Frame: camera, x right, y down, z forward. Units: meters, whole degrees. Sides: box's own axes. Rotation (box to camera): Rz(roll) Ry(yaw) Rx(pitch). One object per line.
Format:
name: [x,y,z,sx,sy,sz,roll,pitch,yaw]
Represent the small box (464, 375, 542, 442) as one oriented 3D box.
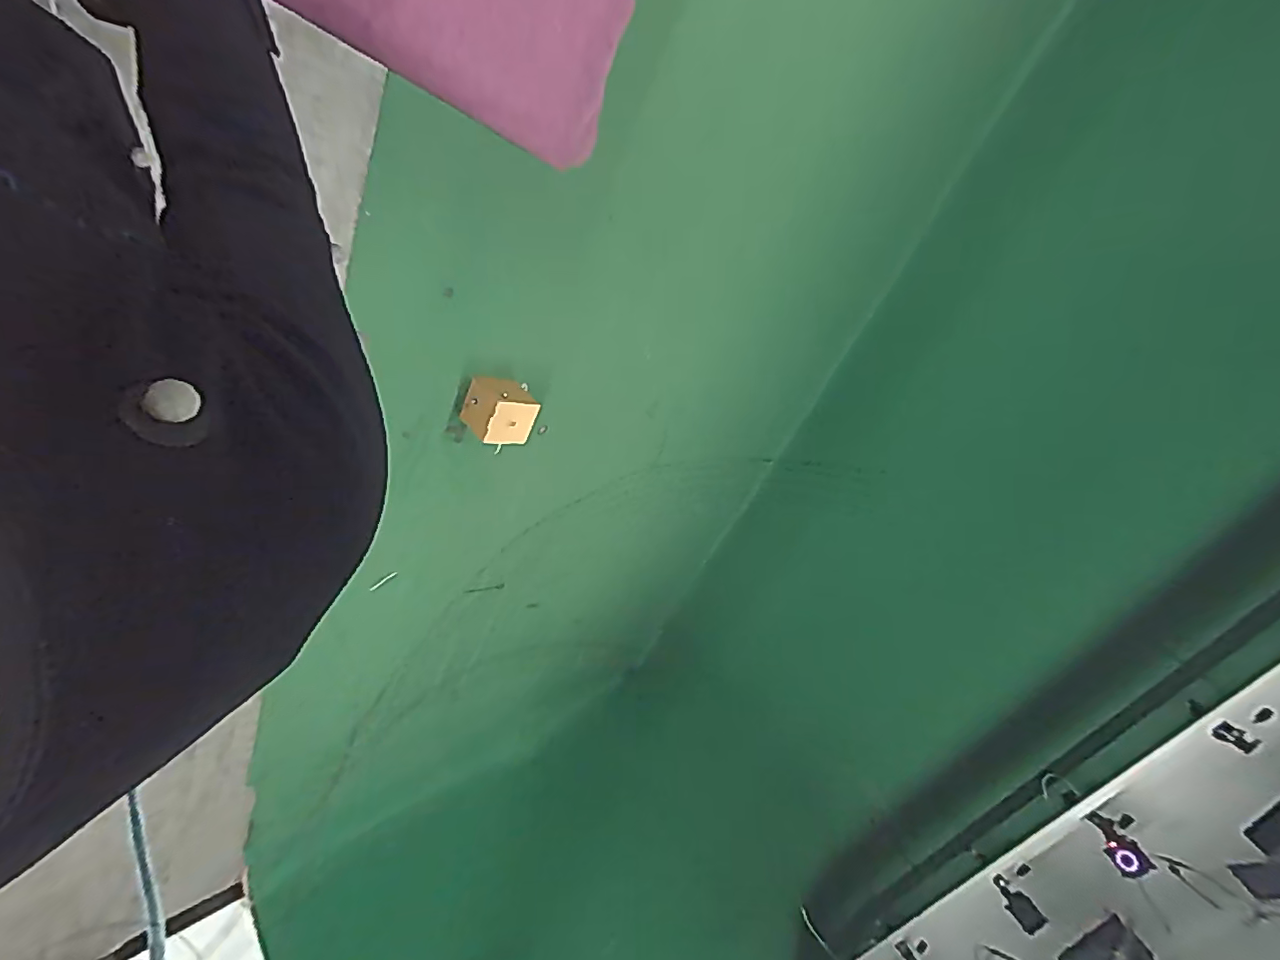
small box: [-0.476,-0.247,1.869,0.179,0.176,0.168,-4,130,-49]
